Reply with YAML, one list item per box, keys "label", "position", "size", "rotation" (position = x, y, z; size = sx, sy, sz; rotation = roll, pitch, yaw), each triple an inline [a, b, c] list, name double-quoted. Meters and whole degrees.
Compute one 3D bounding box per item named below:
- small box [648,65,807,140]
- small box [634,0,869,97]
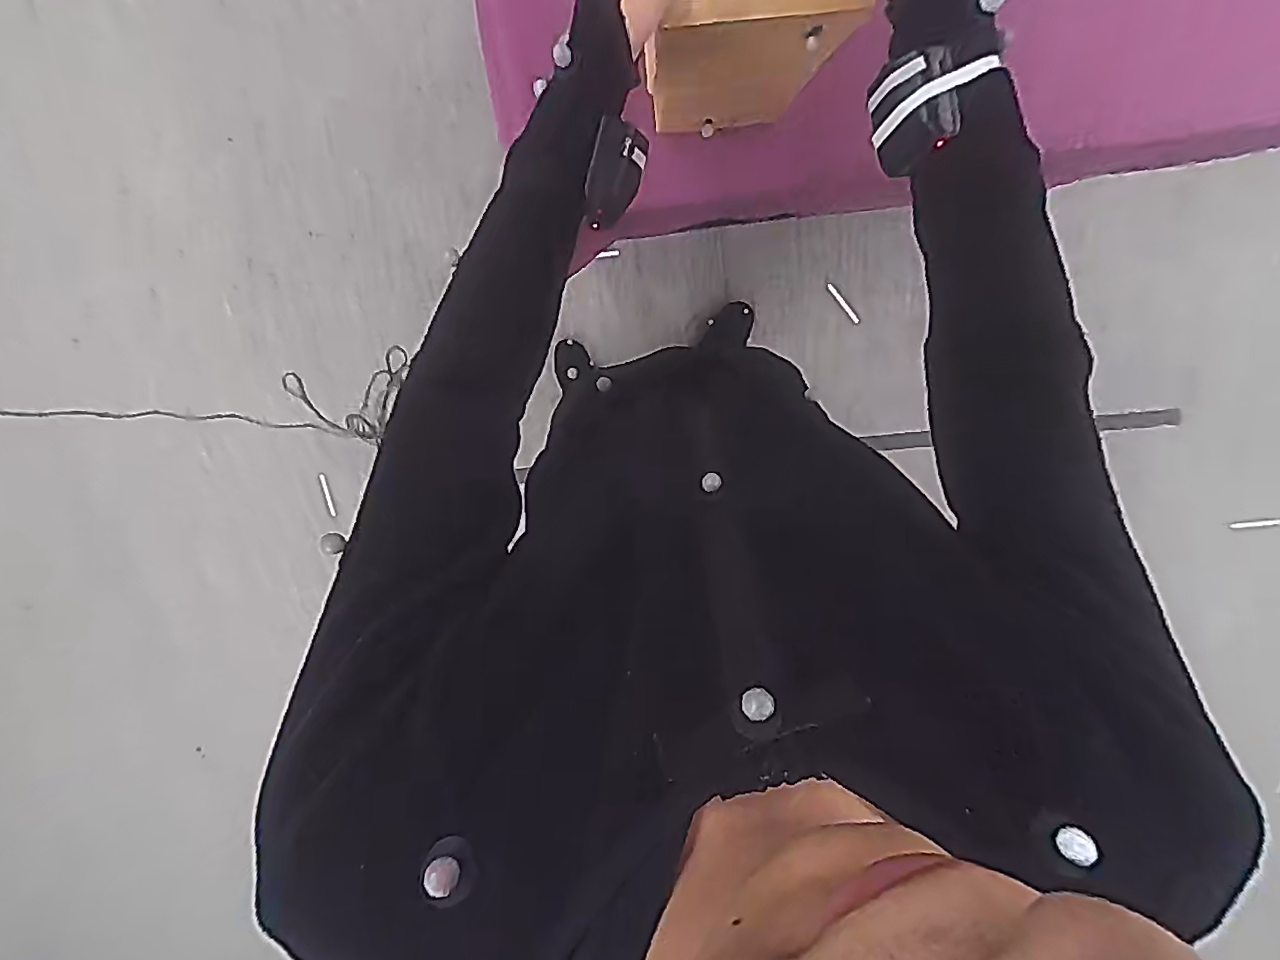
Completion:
- label: "small box"
  position: [0.089, -0.522, 0.624]
  size: [0.168, 0.176, 0.179]
  rotation: [-5, 109, 2]
- label: "small box"
  position: [0.081, -0.457, 0.468]
  size: [0.179, 0.176, 0.168]
  rotation: [-7, 111, 0]
